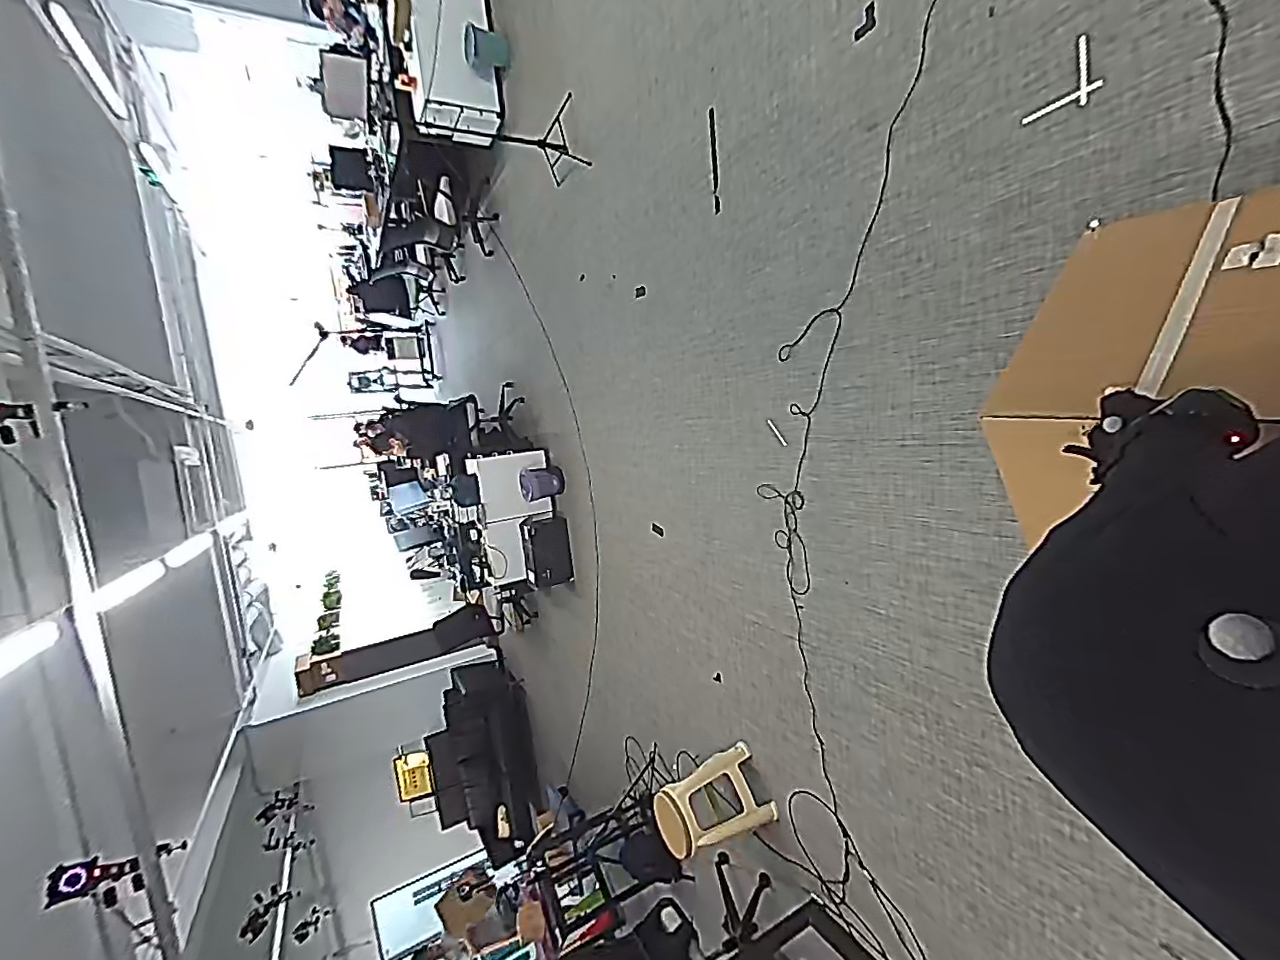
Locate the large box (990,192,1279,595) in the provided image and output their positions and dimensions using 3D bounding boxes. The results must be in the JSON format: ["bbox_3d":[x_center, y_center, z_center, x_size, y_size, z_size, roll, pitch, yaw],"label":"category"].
[{"bbox_3d":[0.743,-0.113,0.718,0.320,0.408,0.320,13,149,54],"label":"large box"}]
